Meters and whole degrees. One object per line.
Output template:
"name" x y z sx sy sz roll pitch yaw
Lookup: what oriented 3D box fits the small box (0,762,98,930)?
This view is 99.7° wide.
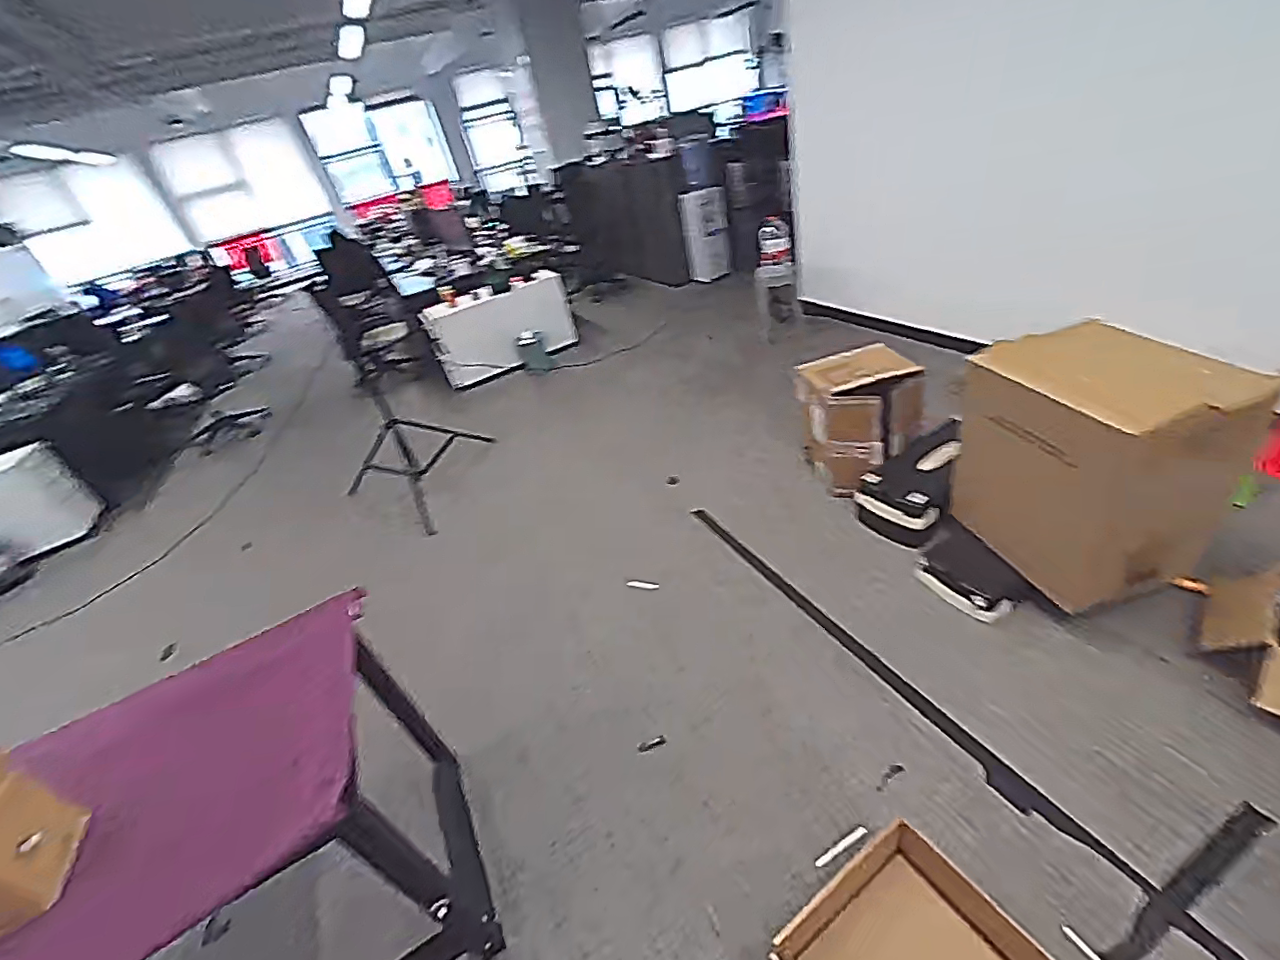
"small box" -1.043 0.603 0.863 0.179 0.176 0.168 -26 35 -15
